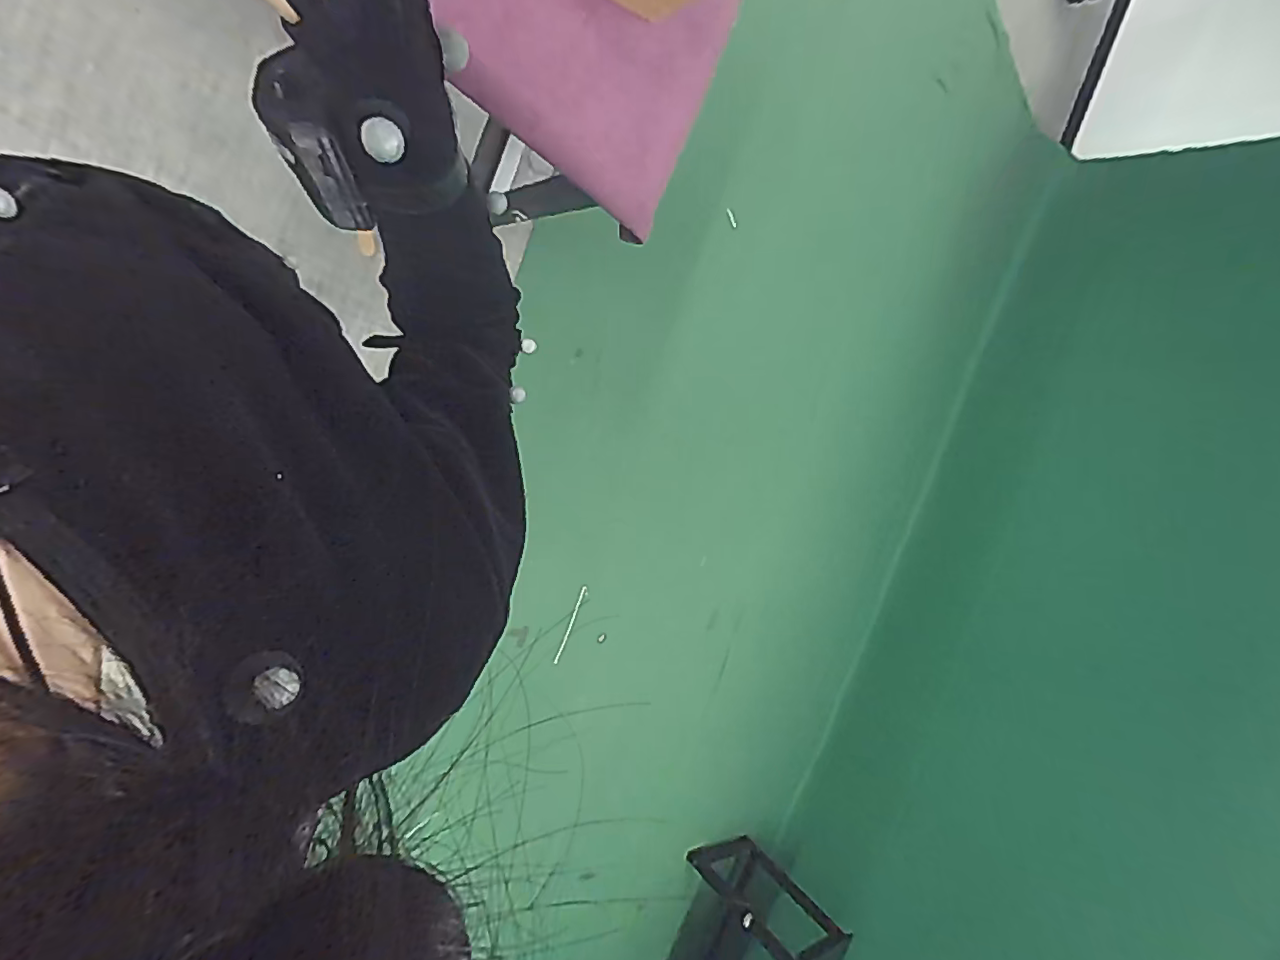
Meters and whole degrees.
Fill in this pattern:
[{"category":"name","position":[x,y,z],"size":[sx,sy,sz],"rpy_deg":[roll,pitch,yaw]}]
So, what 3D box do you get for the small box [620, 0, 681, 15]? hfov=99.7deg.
[{"category":"small box","position":[0.015,-0.749,0.693],"size":[0.179,0.176,0.168],"rpy_deg":[-6,109,-38]}]
